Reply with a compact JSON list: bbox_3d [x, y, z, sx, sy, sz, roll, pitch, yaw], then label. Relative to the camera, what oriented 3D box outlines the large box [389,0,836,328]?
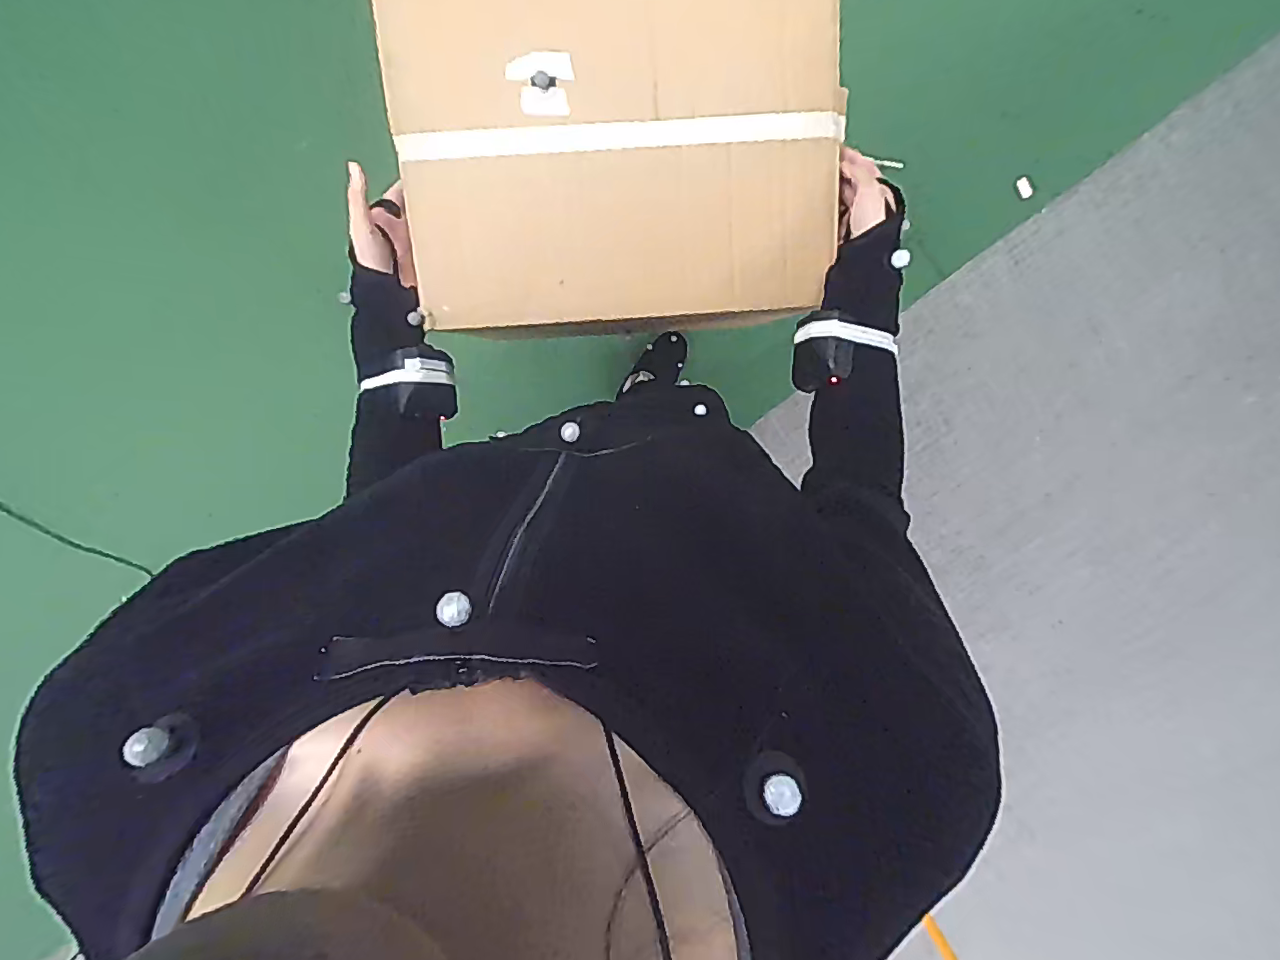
[{"bbox_3d":[-0.021,-0.353,0.651,0.408,0.320,0.320,-3,103,-2],"label":"large box"}]
